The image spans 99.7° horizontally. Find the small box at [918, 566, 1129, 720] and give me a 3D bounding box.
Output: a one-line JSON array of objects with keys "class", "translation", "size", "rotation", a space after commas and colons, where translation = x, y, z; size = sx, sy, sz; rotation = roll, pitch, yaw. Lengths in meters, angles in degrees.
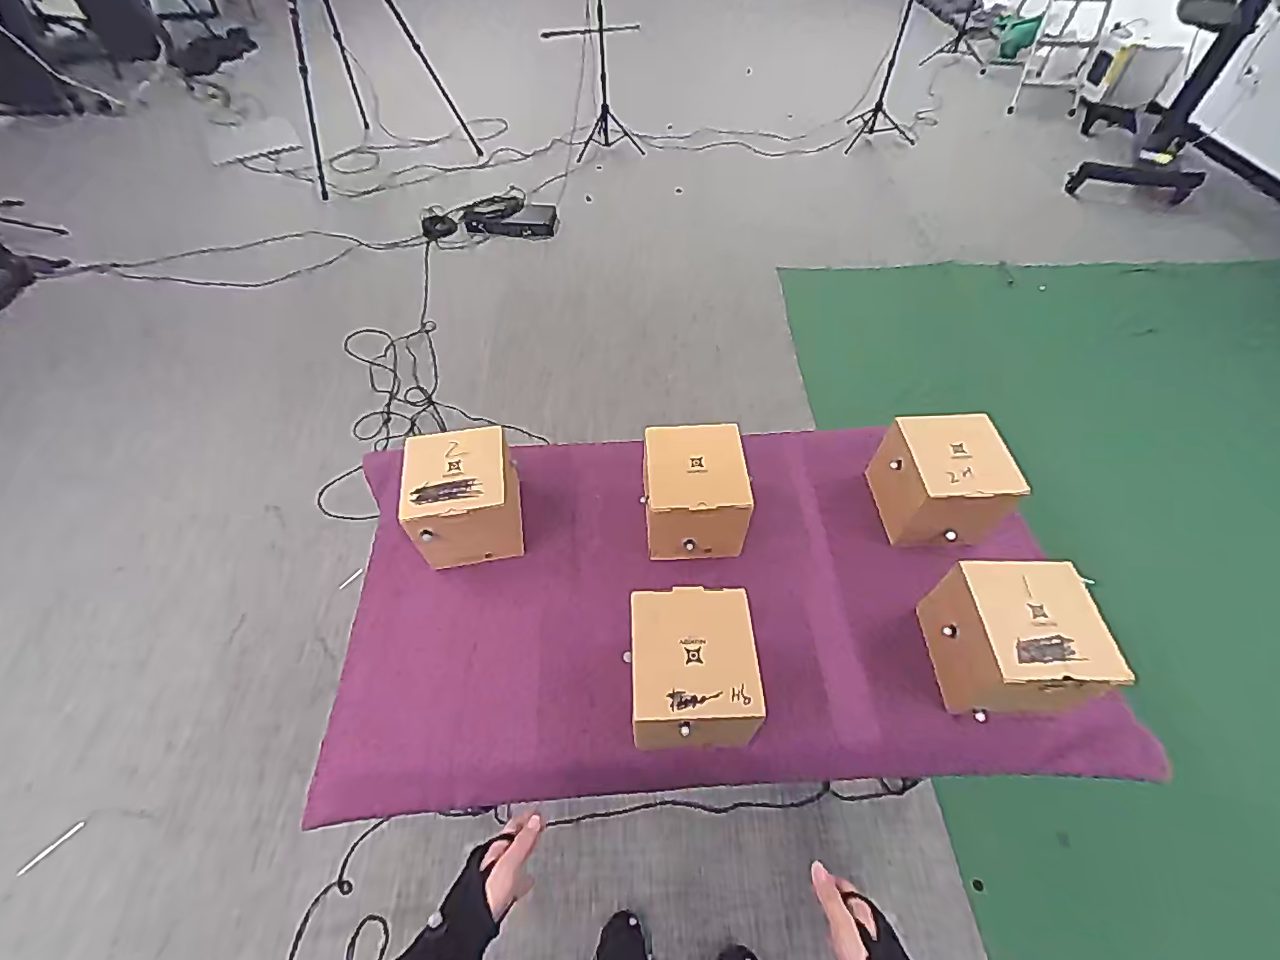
[{"class": "small box", "translation": [0.543, 0.244, 0.799], "size": [0.168, 0.176, 0.179], "rotation": [1, 52, 1]}]

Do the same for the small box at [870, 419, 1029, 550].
[{"class": "small box", "translation": [0.537, 0.010, 0.972], "size": [0.168, 0.176, 0.179], "rotation": [-2, 54, 0]}]

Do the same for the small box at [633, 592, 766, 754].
[{"class": "small box", "translation": [0.073, 0.278, 0.776], "size": [0.168, 0.176, 0.179], "rotation": [-1, 52, 0]}]

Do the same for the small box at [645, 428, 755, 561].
[{"class": "small box", "translation": [0.097, 0.027, 0.963], "size": [0.168, 0.176, 0.179], "rotation": [-2, 55, -2]}]
